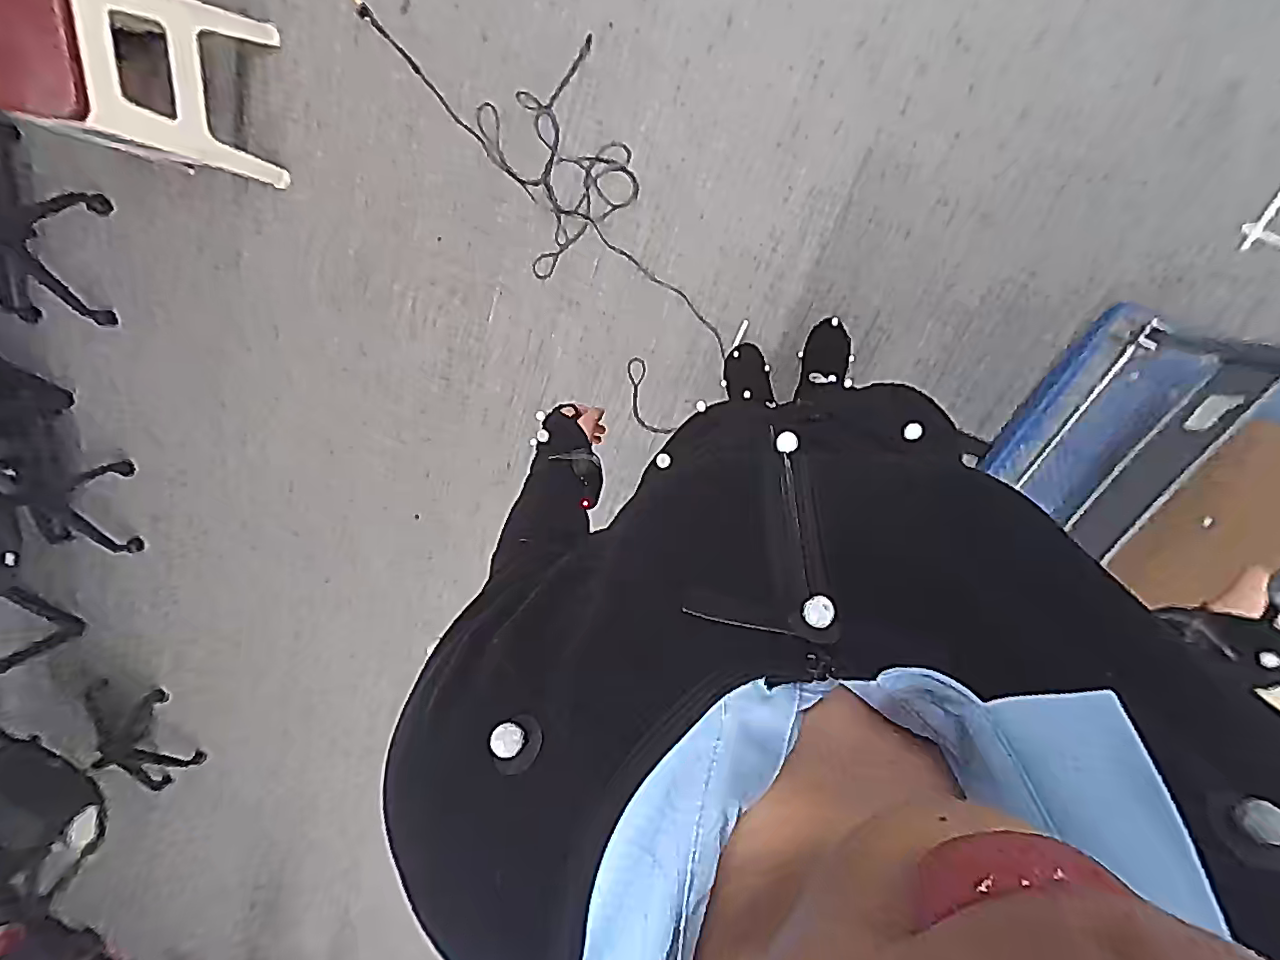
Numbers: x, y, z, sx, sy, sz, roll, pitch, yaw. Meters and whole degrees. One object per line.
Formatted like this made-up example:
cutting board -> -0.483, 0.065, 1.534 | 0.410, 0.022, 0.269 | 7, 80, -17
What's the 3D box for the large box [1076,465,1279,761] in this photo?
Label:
large box -> 1.150, 0.242, 0.991 | 0.320, 0.320, 0.408 | 33, 110, 2
